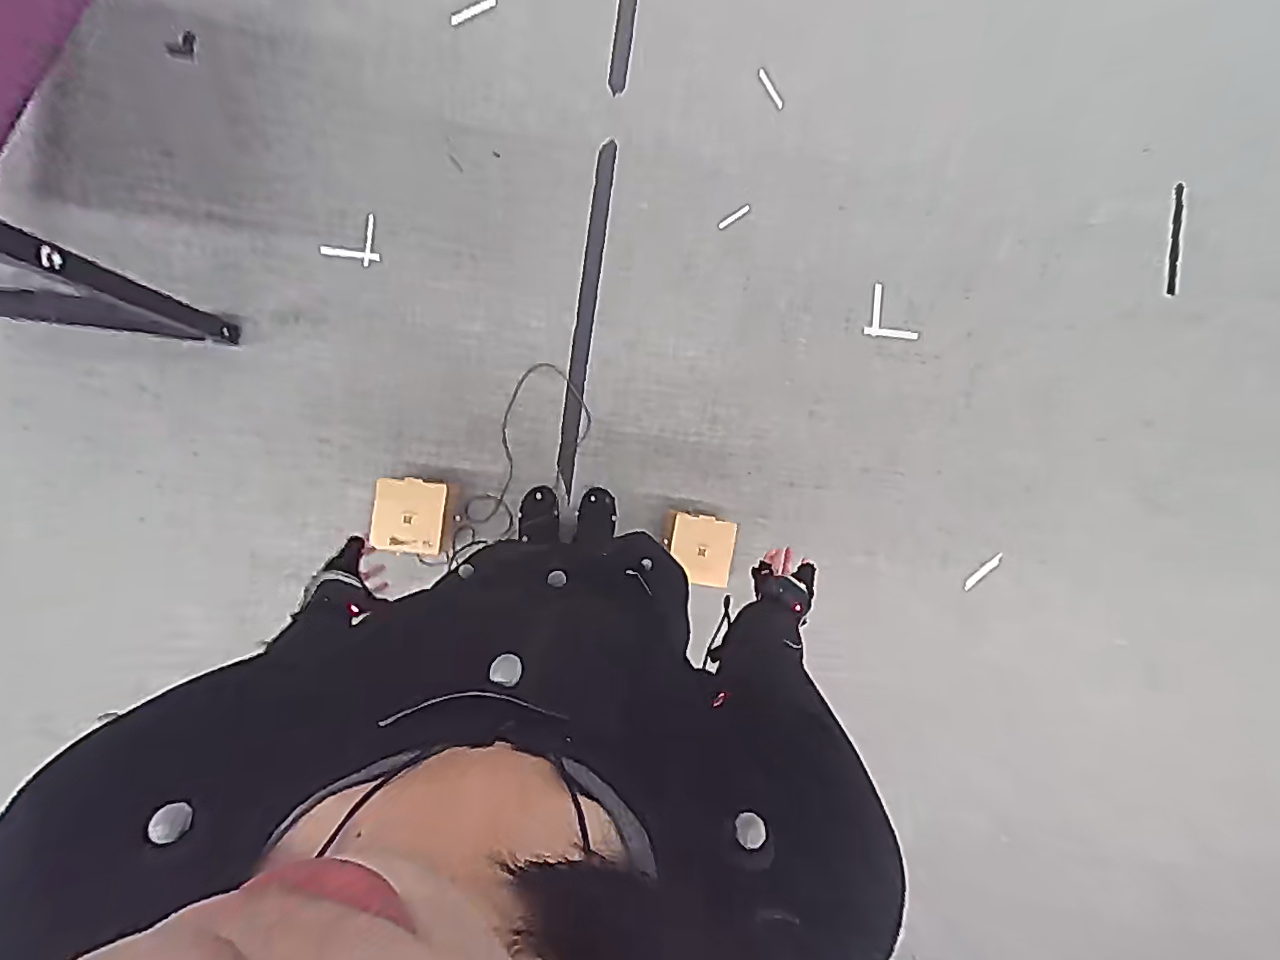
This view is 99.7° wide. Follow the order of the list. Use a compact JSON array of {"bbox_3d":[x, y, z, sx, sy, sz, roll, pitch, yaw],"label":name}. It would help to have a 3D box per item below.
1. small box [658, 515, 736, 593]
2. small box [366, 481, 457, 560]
[{"bbox_3d":[0.148,0.195,1.473,0.168,0.176,0.179,9,89,-6],"label":"small box"},{"bbox_3d":[-0.574,0.102,1.382,0.168,0.176,0.179,7,86,-7],"label":"small box"}]
